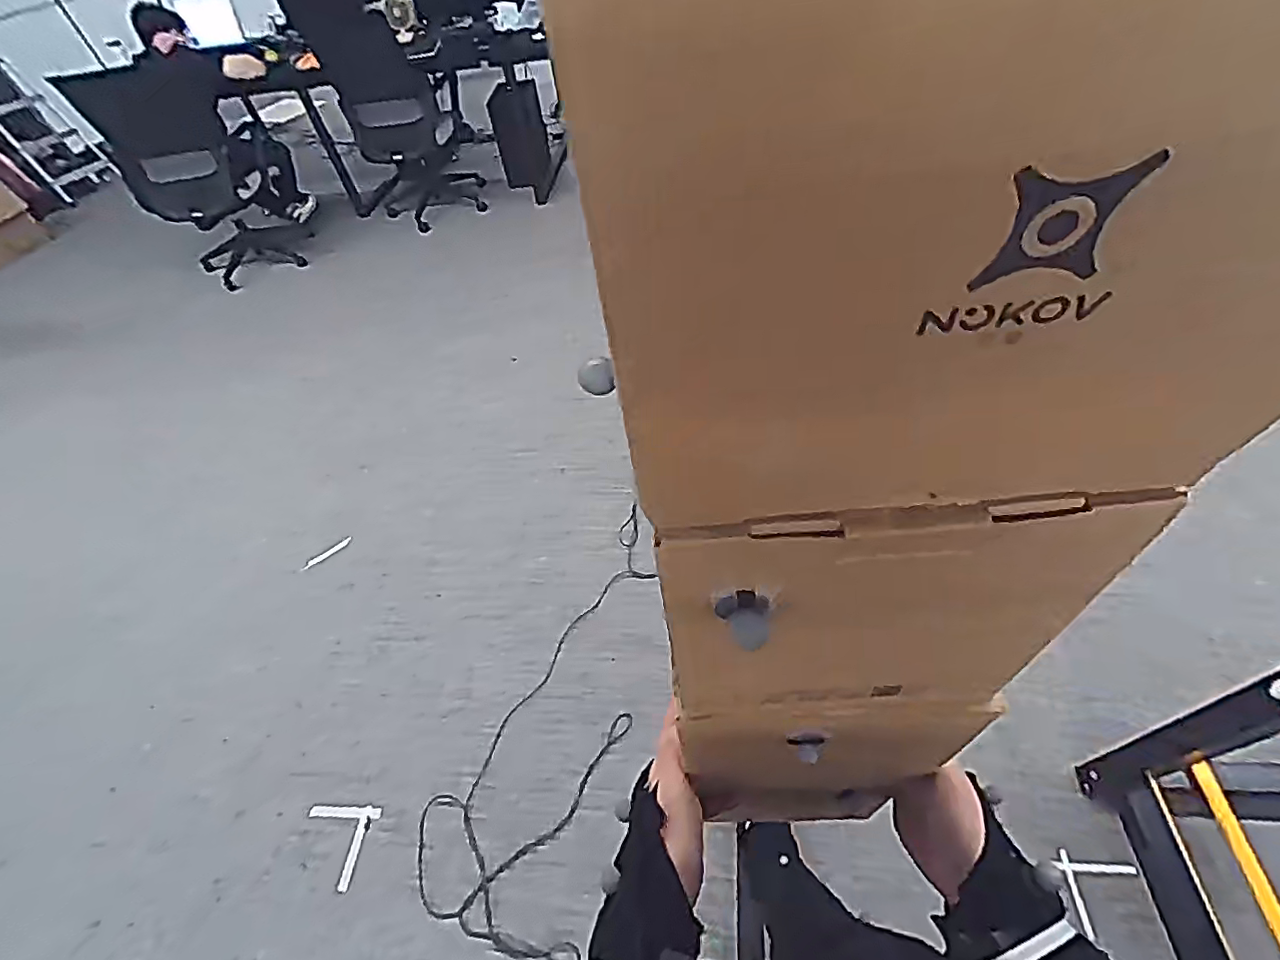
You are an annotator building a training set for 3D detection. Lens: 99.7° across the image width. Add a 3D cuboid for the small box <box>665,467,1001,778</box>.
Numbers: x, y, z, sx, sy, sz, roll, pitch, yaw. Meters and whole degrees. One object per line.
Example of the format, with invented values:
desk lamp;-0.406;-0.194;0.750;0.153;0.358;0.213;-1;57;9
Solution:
small box;0.113;0.110;0.399;0.179;0.176;0.168;-3;49;4
